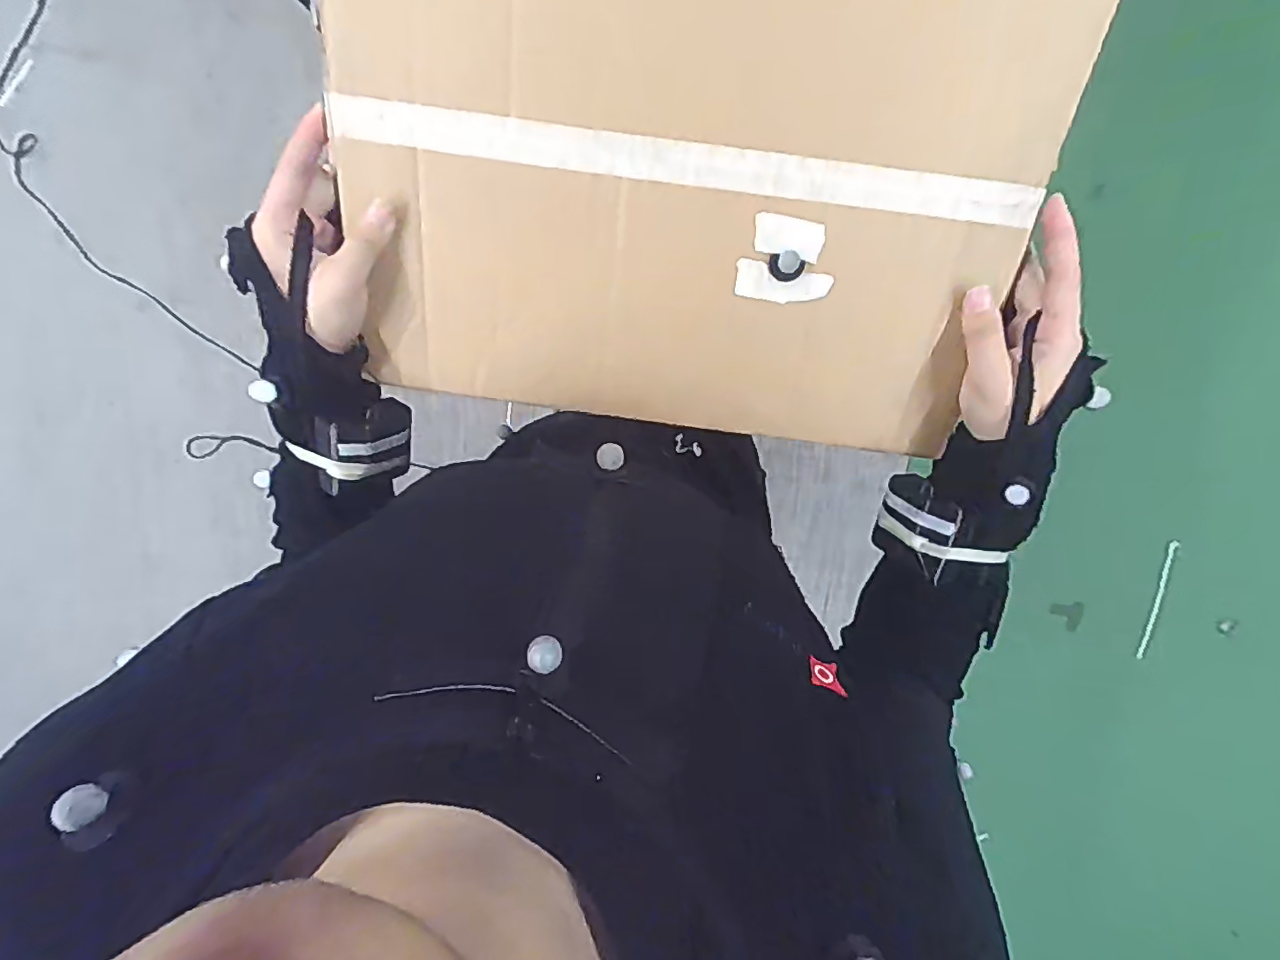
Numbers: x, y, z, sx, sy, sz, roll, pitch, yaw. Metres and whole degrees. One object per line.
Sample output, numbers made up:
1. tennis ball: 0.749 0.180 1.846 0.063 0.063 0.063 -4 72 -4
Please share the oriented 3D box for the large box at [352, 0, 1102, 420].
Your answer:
1. large box: 0.038 -0.261 0.449 0.408 0.320 0.320 7 116 -2
